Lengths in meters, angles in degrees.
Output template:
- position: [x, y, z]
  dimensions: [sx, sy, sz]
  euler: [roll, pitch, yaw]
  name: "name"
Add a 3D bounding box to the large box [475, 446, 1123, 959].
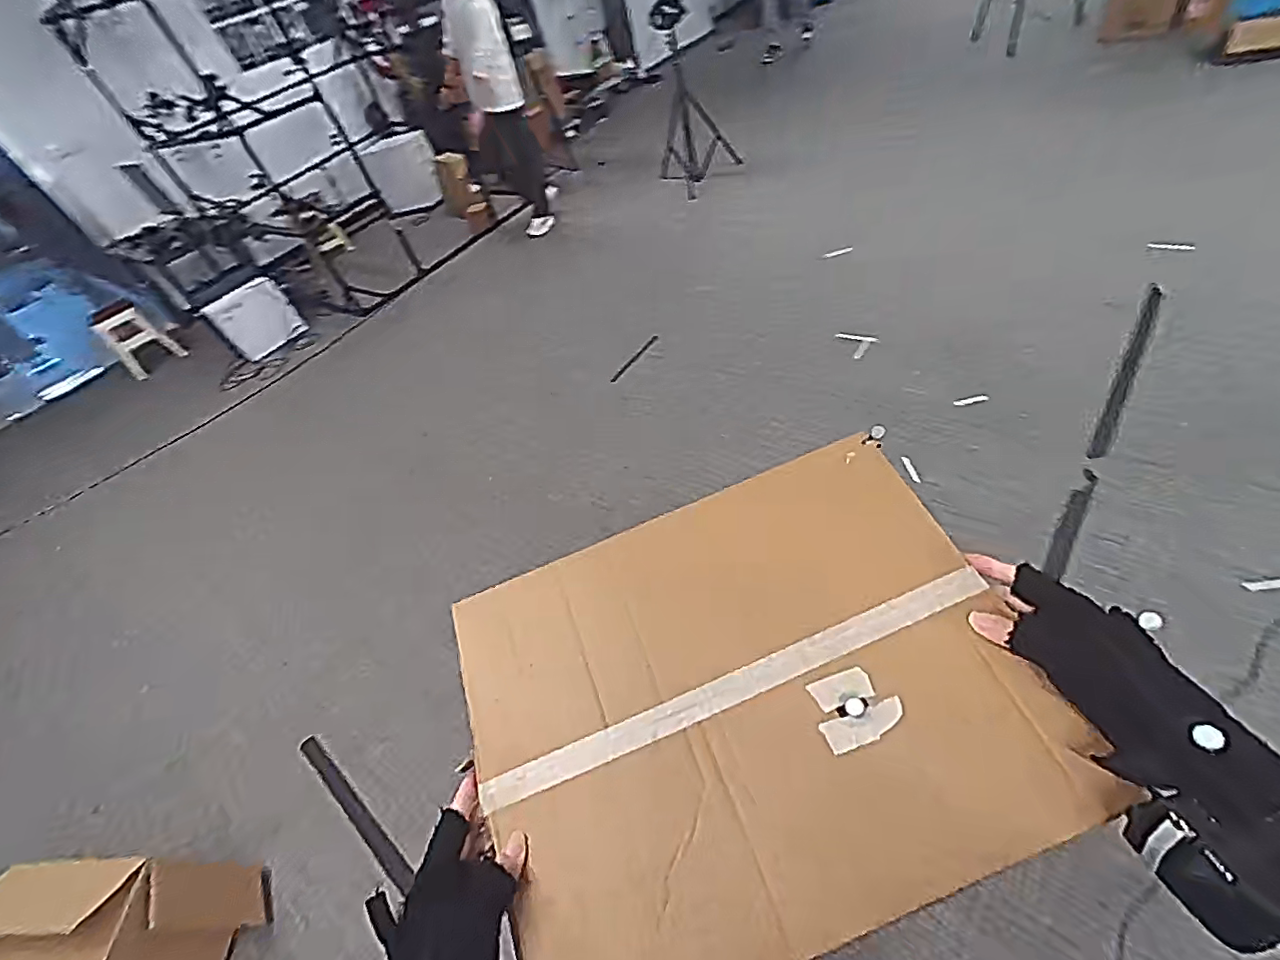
- position: [0.107, 0.237, 0.545]
  dimensions: [0.408, 0.320, 0.320]
  euler: [-23, 58, -2]
  name: "large box"
